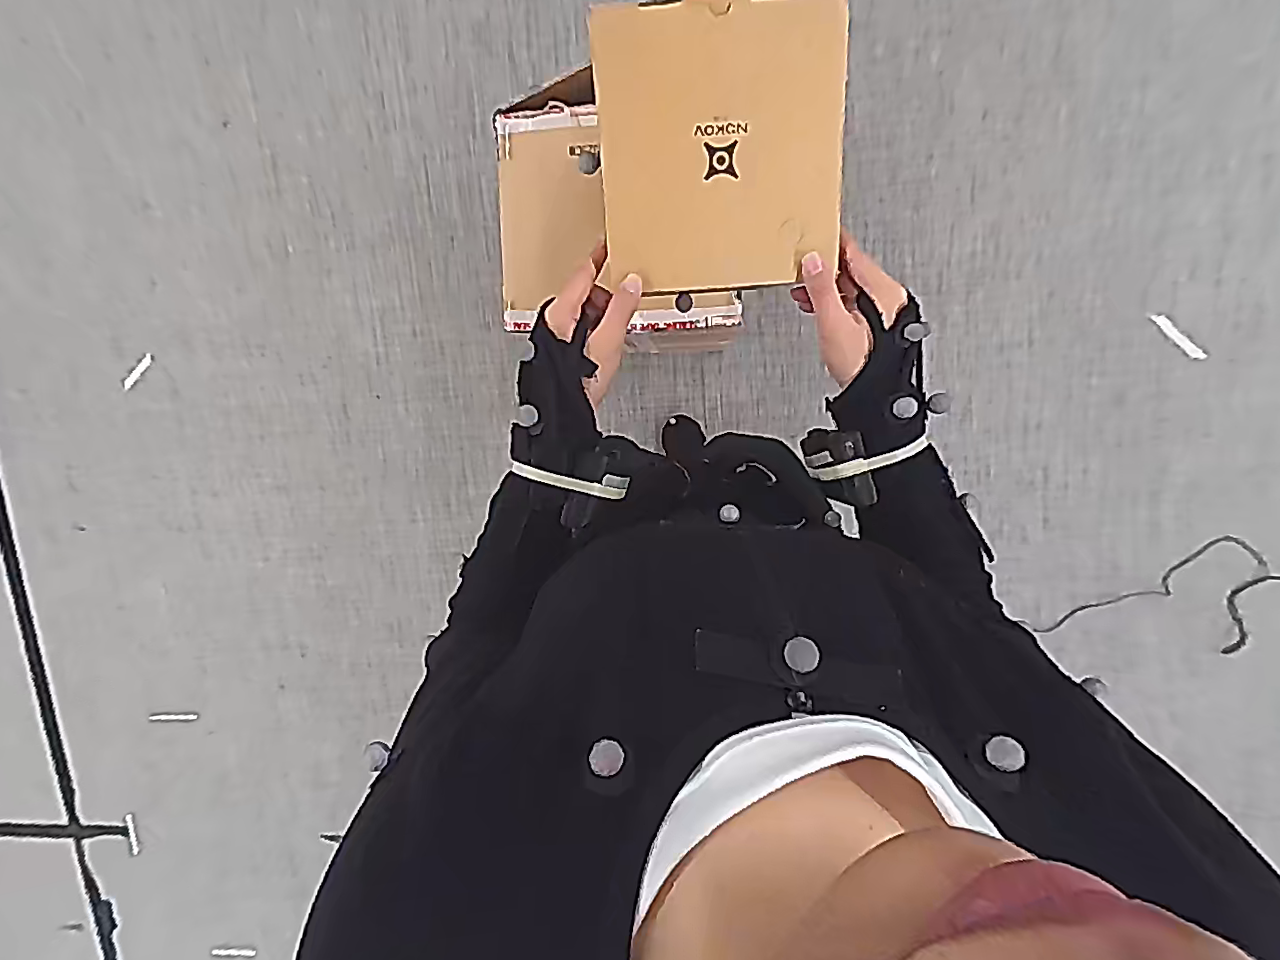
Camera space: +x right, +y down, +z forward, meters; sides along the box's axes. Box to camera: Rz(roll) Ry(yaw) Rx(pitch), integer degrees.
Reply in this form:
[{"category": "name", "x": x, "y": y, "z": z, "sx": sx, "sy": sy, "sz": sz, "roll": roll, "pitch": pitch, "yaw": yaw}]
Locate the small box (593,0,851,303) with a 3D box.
[{"category": "small box", "x": 0.056, "y": -0.242, "z": 0.442, "sx": 0.168, "sy": 0.176, "sz": 0.179, "roll": -4, "pitch": 107, "yaw": 0}]
